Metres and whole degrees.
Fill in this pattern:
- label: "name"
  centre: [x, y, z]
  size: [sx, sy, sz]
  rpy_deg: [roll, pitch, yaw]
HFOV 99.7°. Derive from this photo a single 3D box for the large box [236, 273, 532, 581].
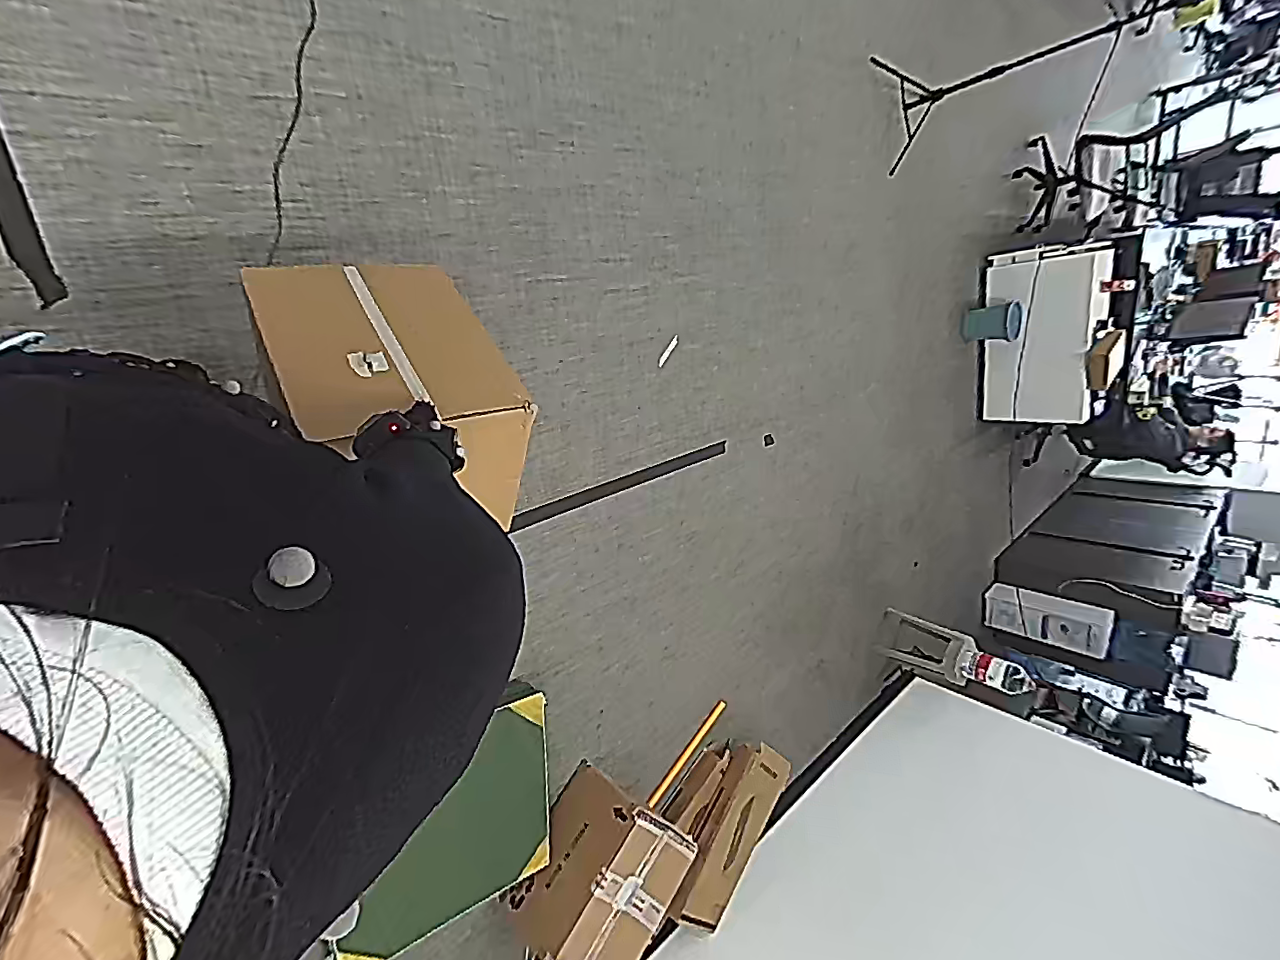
- label: "large box"
  centre: [-0.439, -0.108, 0.931]
  size: [0.320, 0.408, 0.320]
  rpy_deg: [-18, 148, -35]
